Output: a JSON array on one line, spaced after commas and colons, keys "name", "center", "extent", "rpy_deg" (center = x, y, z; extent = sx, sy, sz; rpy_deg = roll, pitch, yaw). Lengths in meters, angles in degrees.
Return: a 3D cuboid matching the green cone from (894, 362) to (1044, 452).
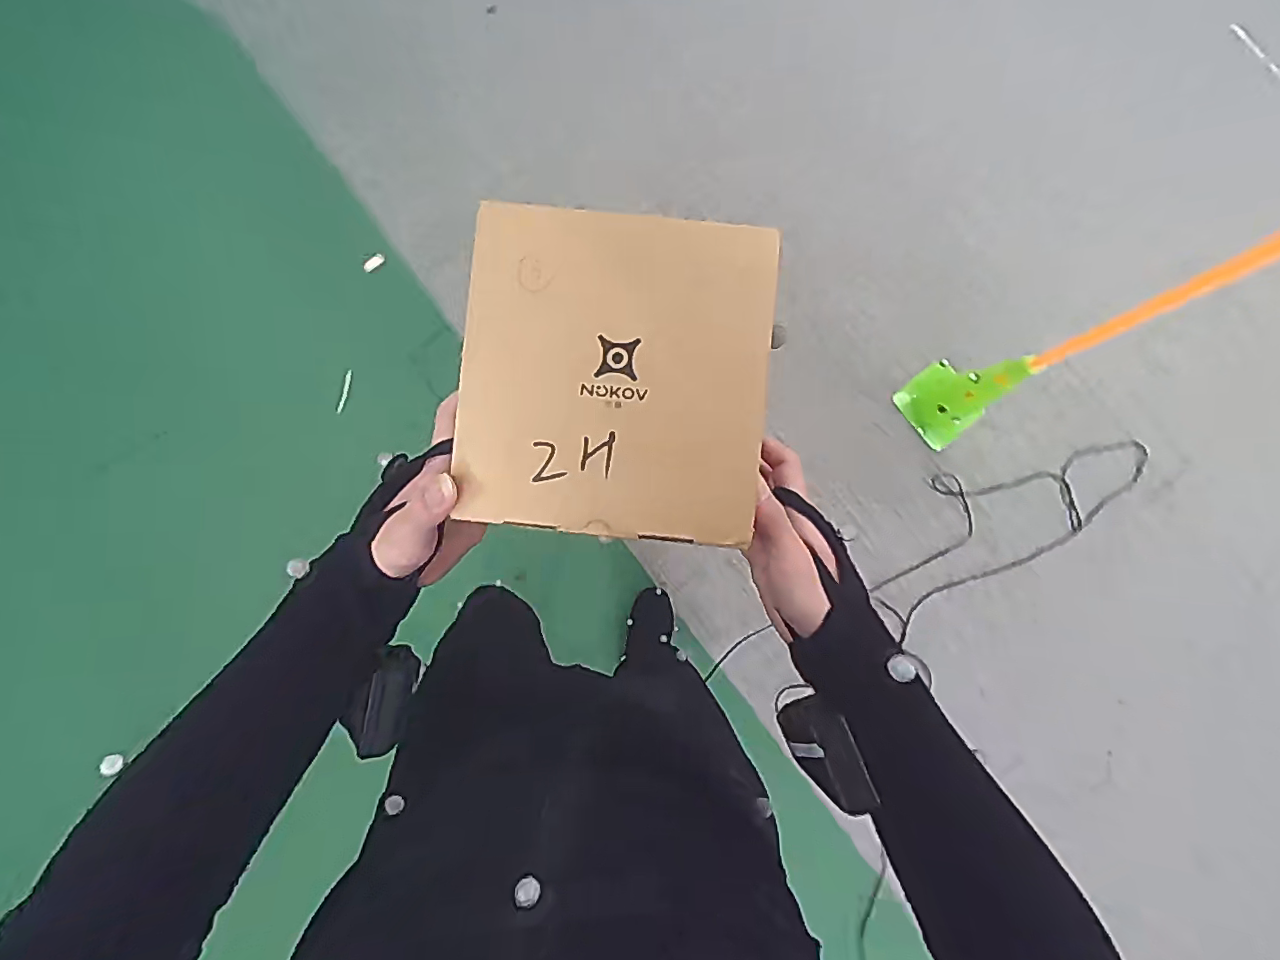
[{"name": "green cone", "center": [0.850, -0.222, 1.355], "extent": [0.200, 0.368, 0.202], "rpy_deg": [-38, 88, -5]}]
